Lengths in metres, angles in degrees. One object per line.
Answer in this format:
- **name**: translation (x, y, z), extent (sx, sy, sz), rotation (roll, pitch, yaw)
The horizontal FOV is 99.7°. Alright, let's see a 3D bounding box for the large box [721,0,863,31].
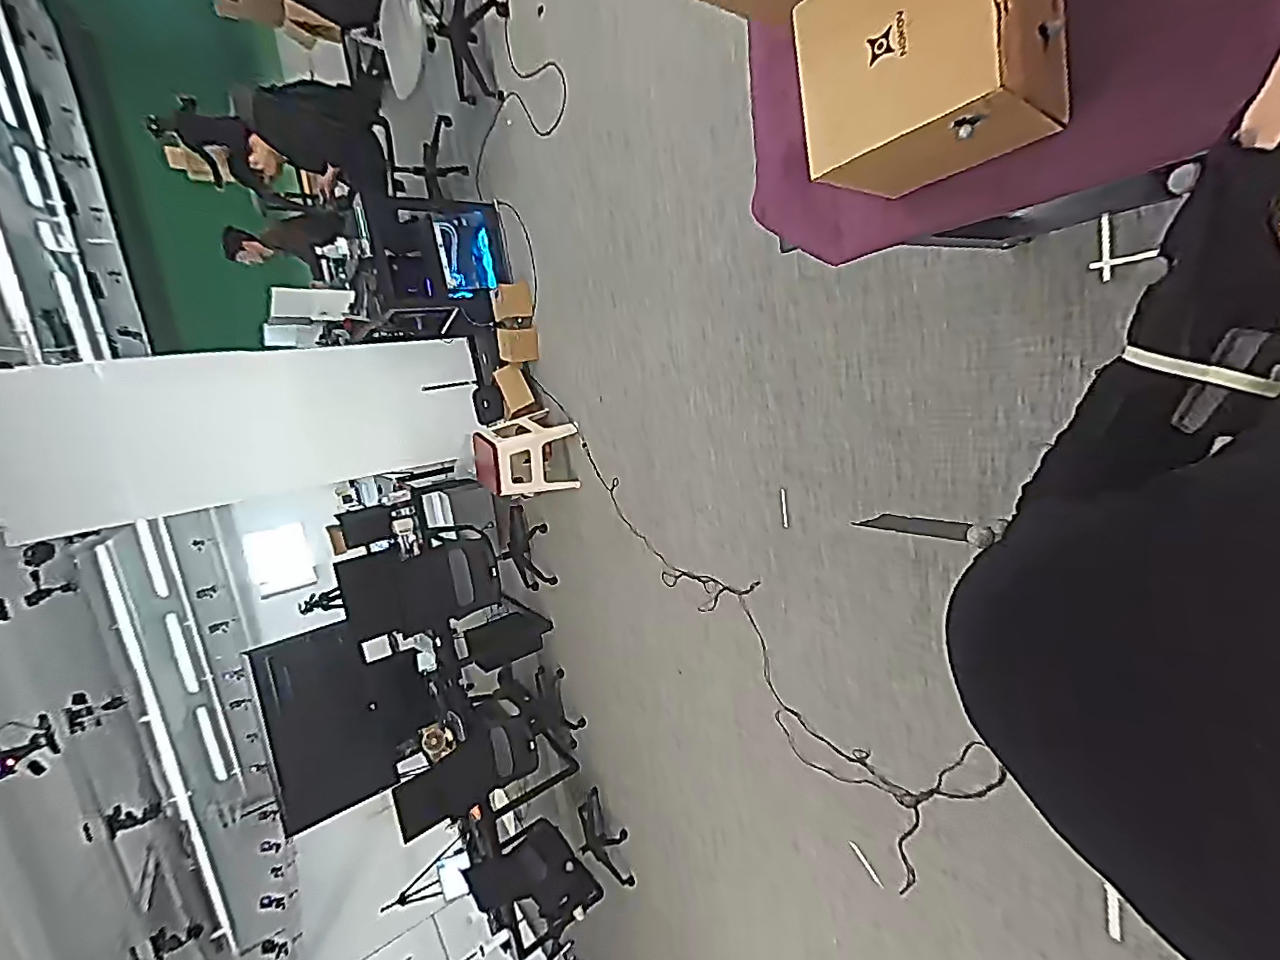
- **large box**: translation (0.162, -0.719, 0.457), extent (0.320, 0.320, 0.408), rotation (4, 109, 54)
